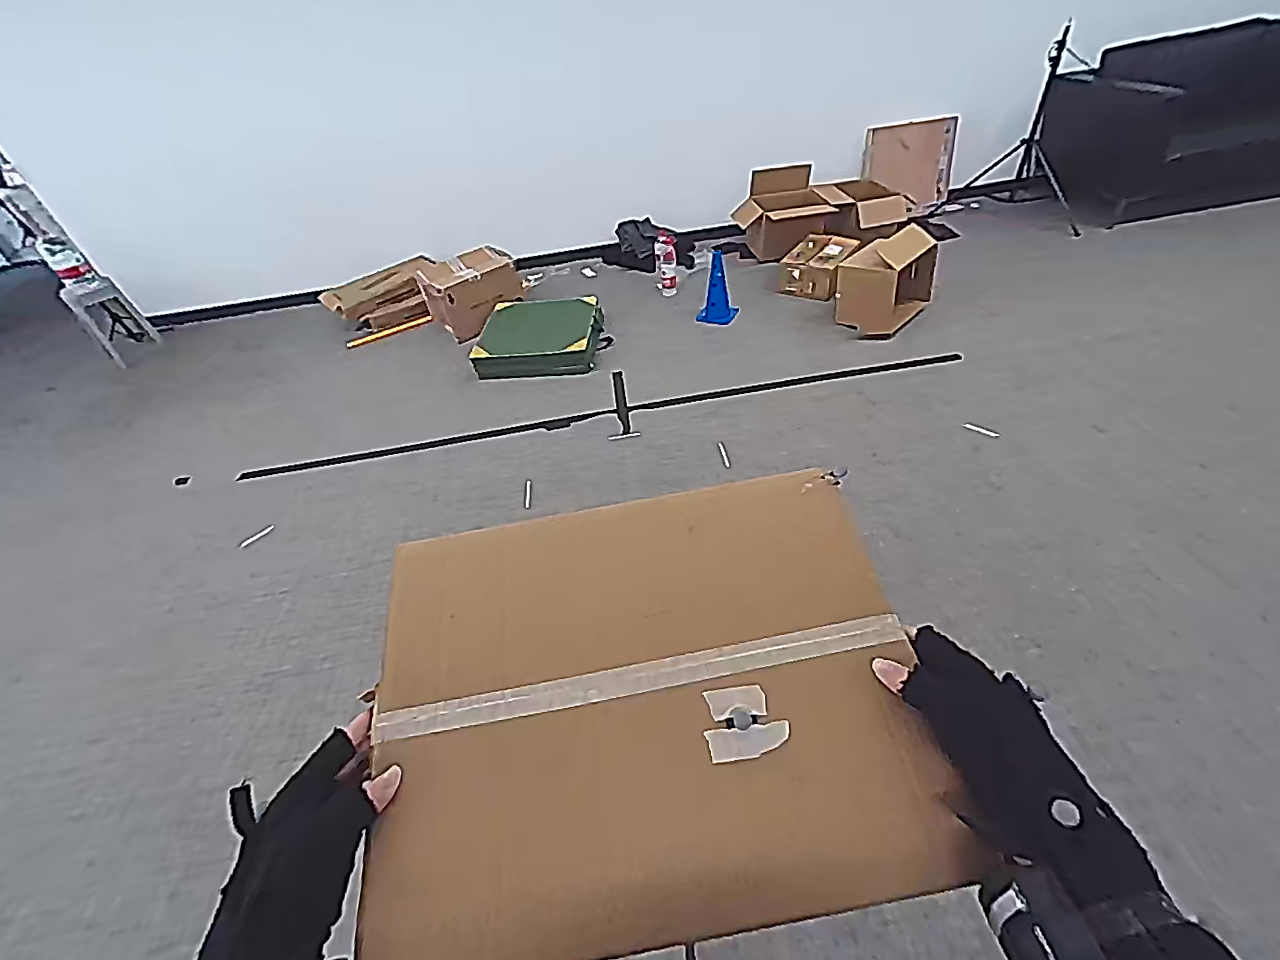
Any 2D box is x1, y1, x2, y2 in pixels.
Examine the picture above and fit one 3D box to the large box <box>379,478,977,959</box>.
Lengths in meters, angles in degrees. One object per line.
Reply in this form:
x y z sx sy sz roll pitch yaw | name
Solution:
0.014 0.241 0.551 0.408 0.320 0.320 -10 57 -1 | large box
